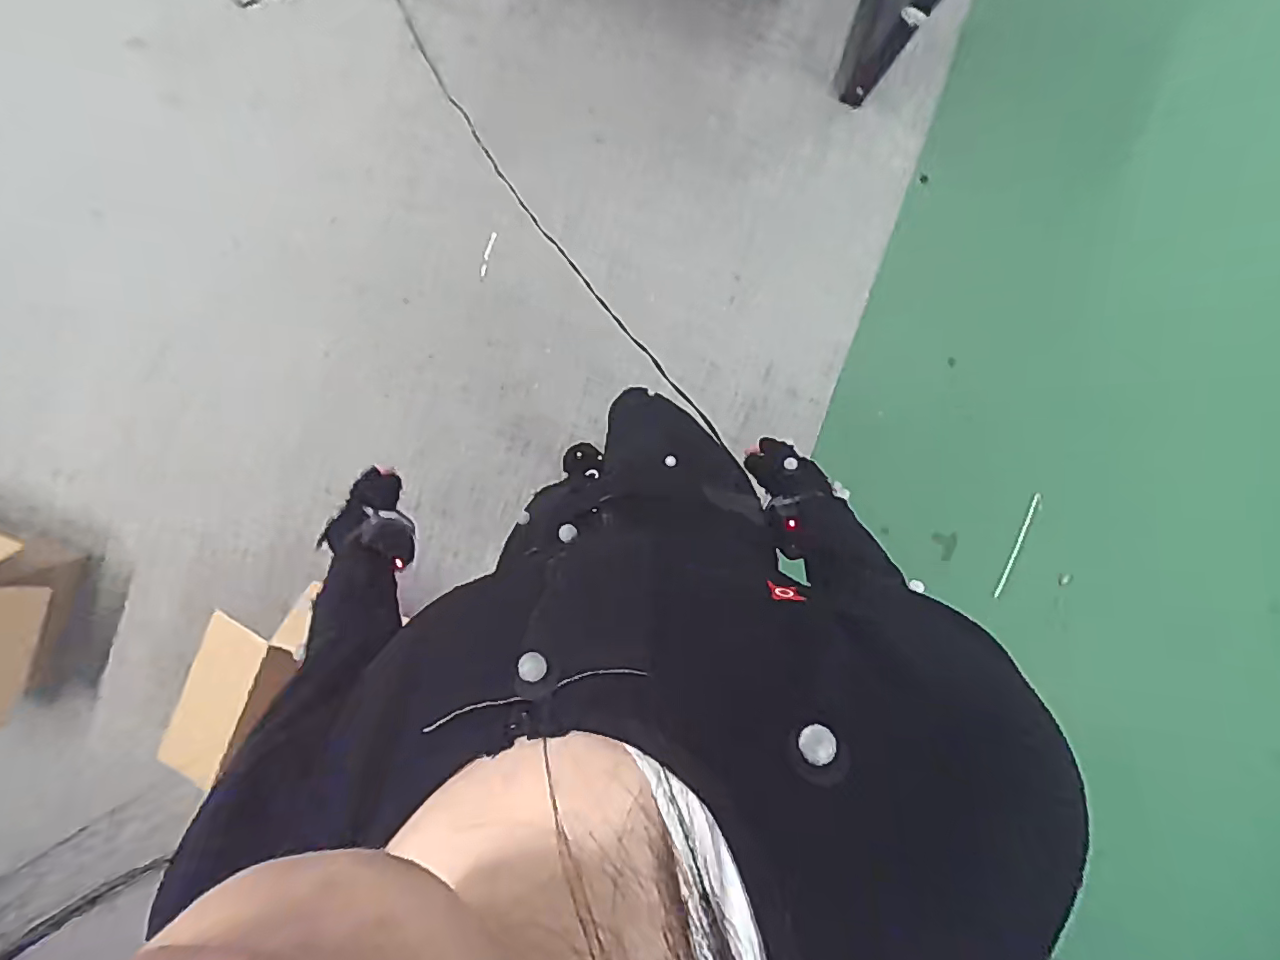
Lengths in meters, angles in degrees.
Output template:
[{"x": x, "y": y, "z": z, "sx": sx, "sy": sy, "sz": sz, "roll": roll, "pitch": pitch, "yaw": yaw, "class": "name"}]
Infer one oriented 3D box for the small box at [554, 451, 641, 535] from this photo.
[{"x": -0.114, "y": 0.029, "z": 1.421, "sx": 0.179, "sy": 0.176, "sz": 0.168, "roll": 15, "pitch": 105, "yaw": 15, "class": "small box"}]
